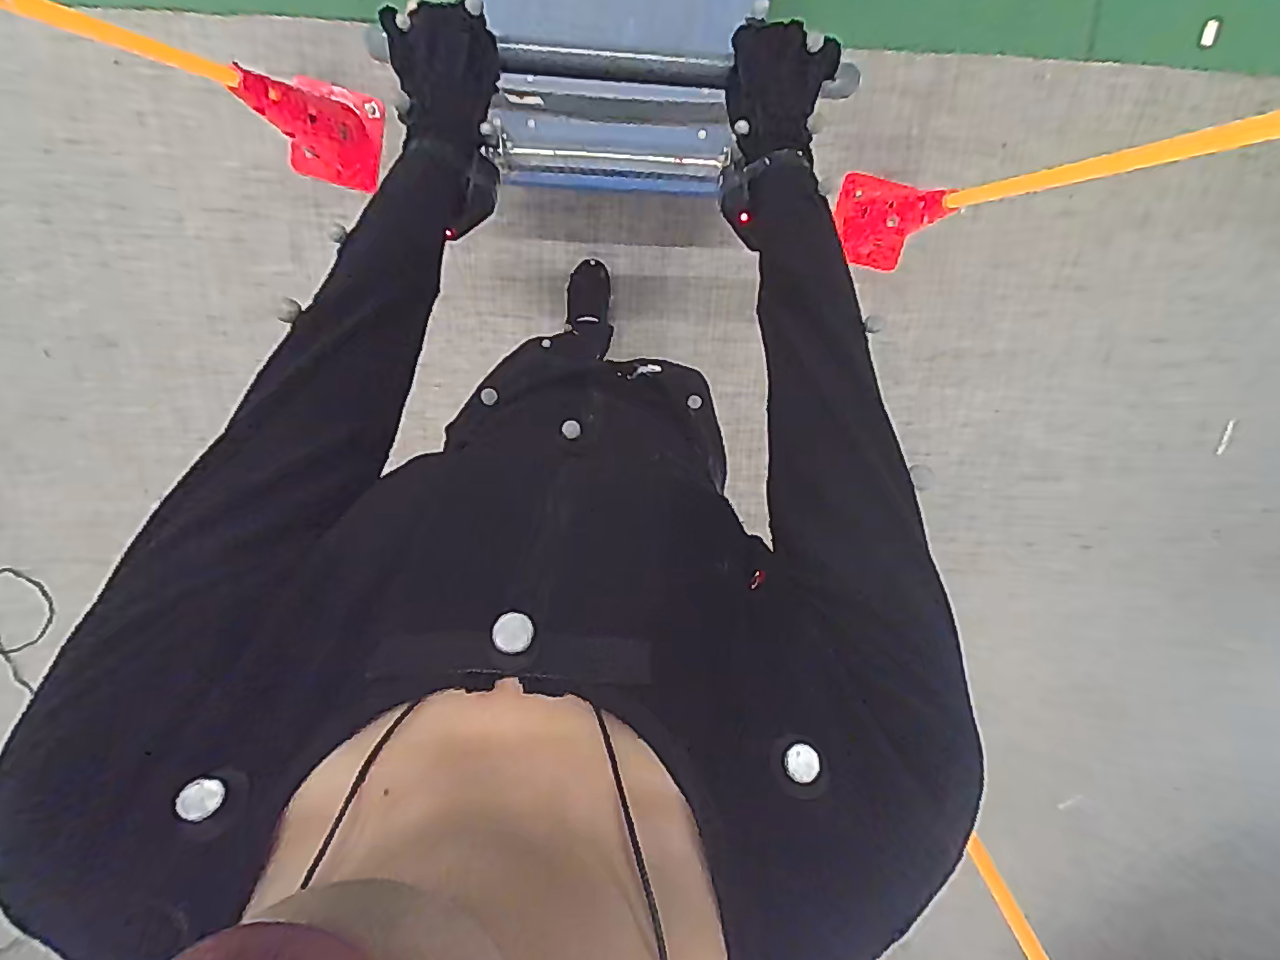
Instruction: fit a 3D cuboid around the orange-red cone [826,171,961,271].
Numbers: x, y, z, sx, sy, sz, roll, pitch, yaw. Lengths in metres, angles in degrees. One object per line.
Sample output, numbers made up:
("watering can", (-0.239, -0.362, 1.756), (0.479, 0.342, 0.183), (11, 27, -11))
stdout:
("orange-red cone", (0.581, -0.581, 1.177), (0.198, 0.360, 0.199), (12, 109, -5))
